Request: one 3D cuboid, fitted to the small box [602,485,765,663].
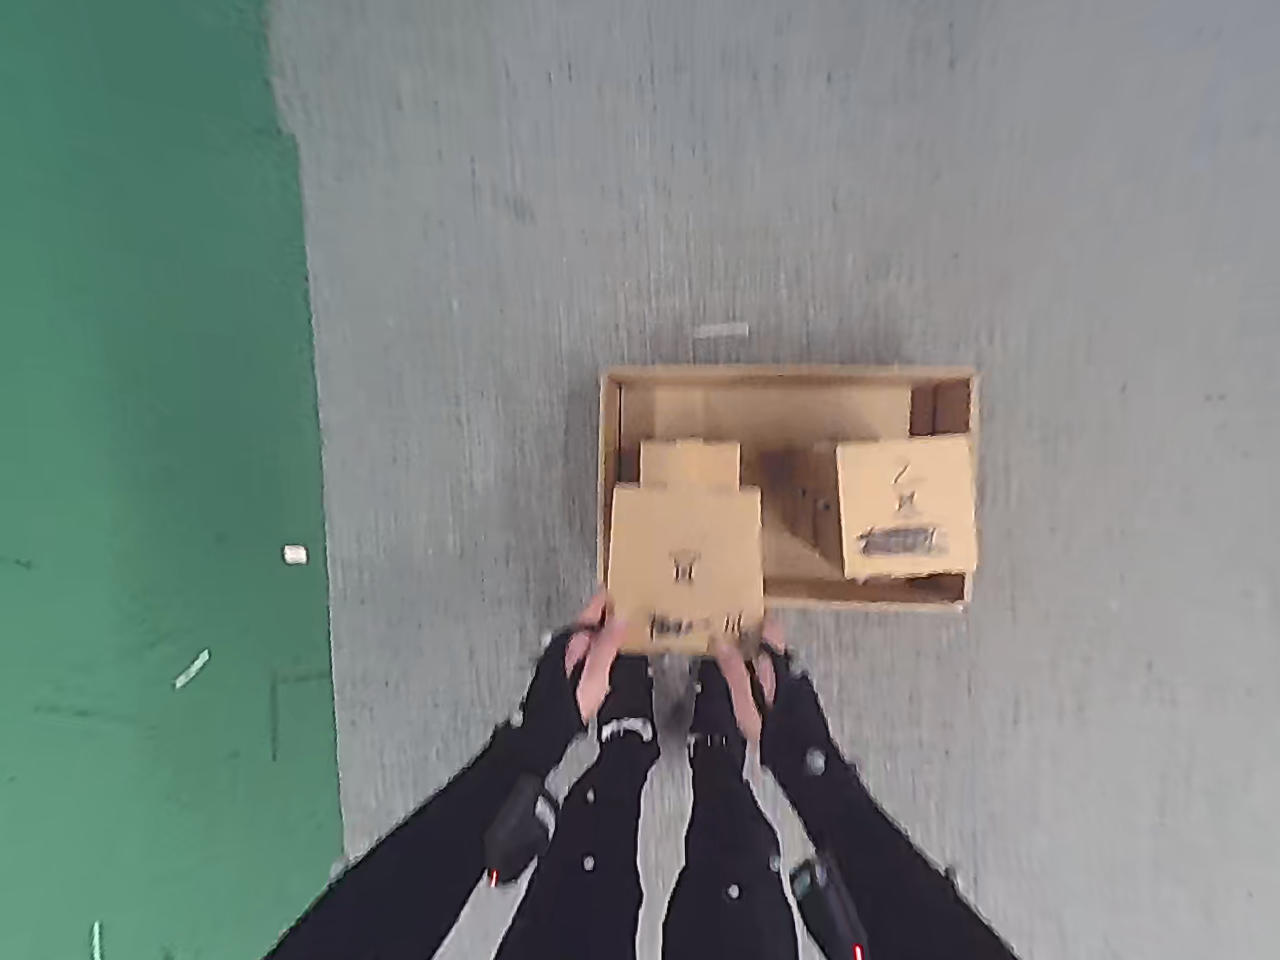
[{"bbox_3d":[0.050,0.118,0.639,0.168,0.176,0.179,2,70,4],"label":"small box"}]
